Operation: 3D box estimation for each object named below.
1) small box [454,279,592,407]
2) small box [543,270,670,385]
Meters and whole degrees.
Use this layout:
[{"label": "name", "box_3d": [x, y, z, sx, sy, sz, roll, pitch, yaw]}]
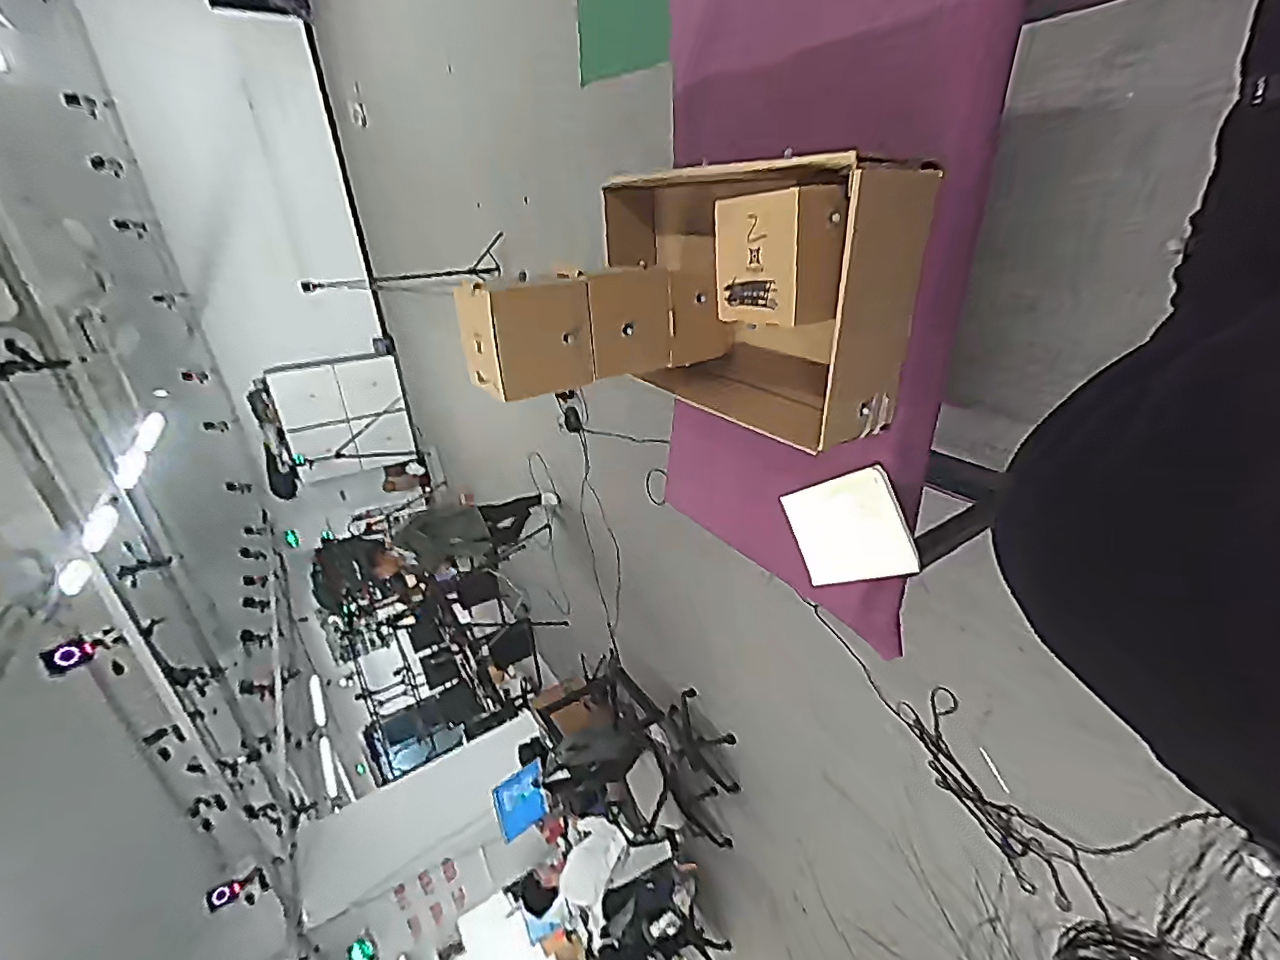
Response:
[{"label": "small box", "box_3d": [-0.195, -0.242, 0.922, 0.168, 0.176, 0.179, 31, 131, 48]}, {"label": "small box", "box_3d": [-0.059, -0.290, 1.000, 0.168, 0.176, 0.179, 28, 130, 50]}]
